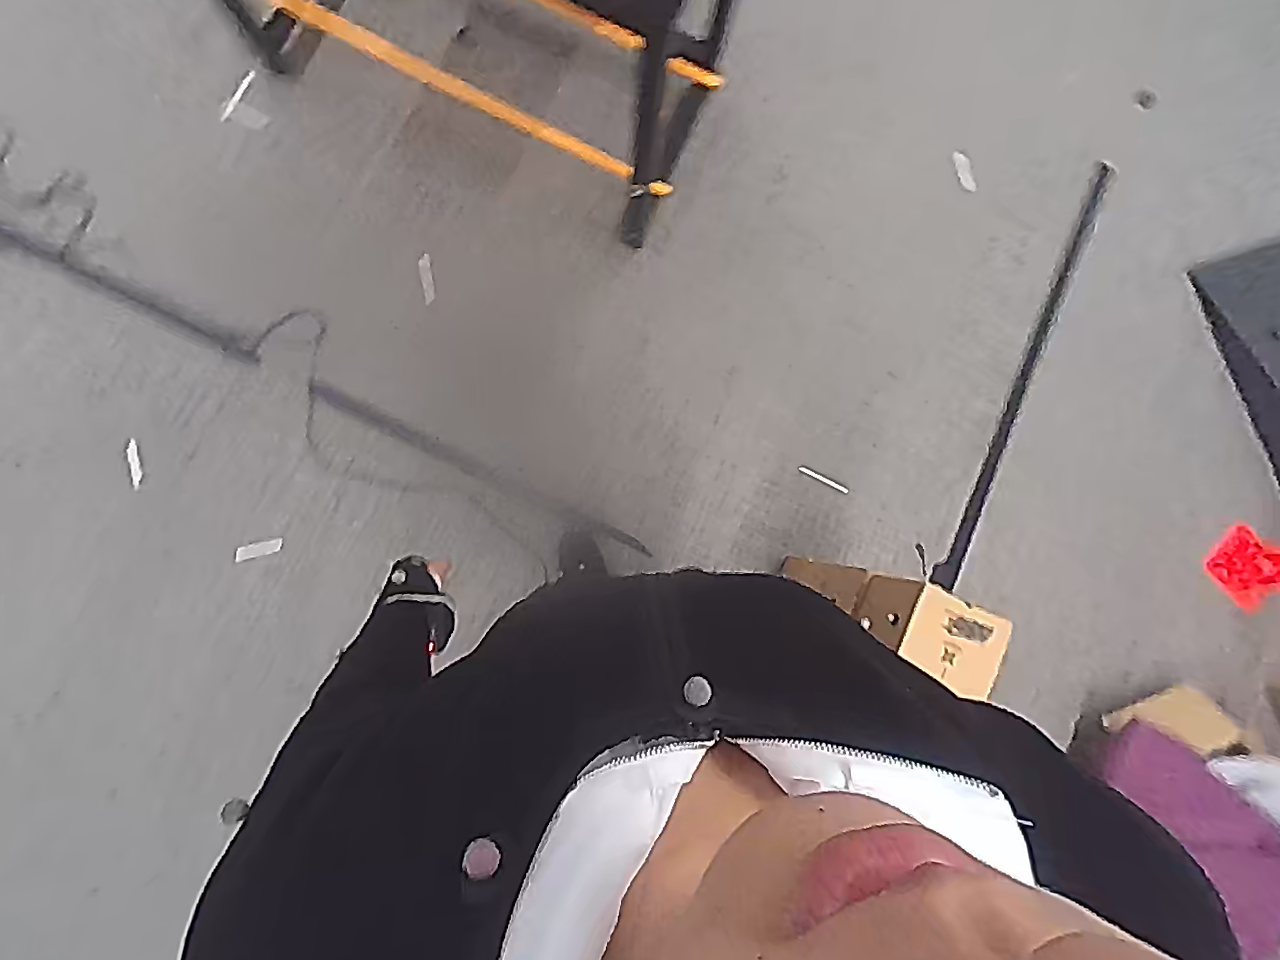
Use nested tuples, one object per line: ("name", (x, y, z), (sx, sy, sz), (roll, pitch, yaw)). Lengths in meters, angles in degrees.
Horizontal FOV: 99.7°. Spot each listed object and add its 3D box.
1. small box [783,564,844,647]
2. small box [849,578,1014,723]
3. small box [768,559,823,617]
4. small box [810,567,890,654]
("small box", (0.471, 0.306, 1.280), (0.179, 0.176, 0.168), (27, 82, -1))
("small box", (0.499, 0.286, 0.952), (0.168, 0.176, 0.179), (26, 84, -2))
("small box", (0.470, 0.318, 1.445), (0.179, 0.176, 0.168), (26, 83, 0))
("small box", (0.481, 0.290, 1.117), (0.179, 0.176, 0.168), (27, 83, -1))
